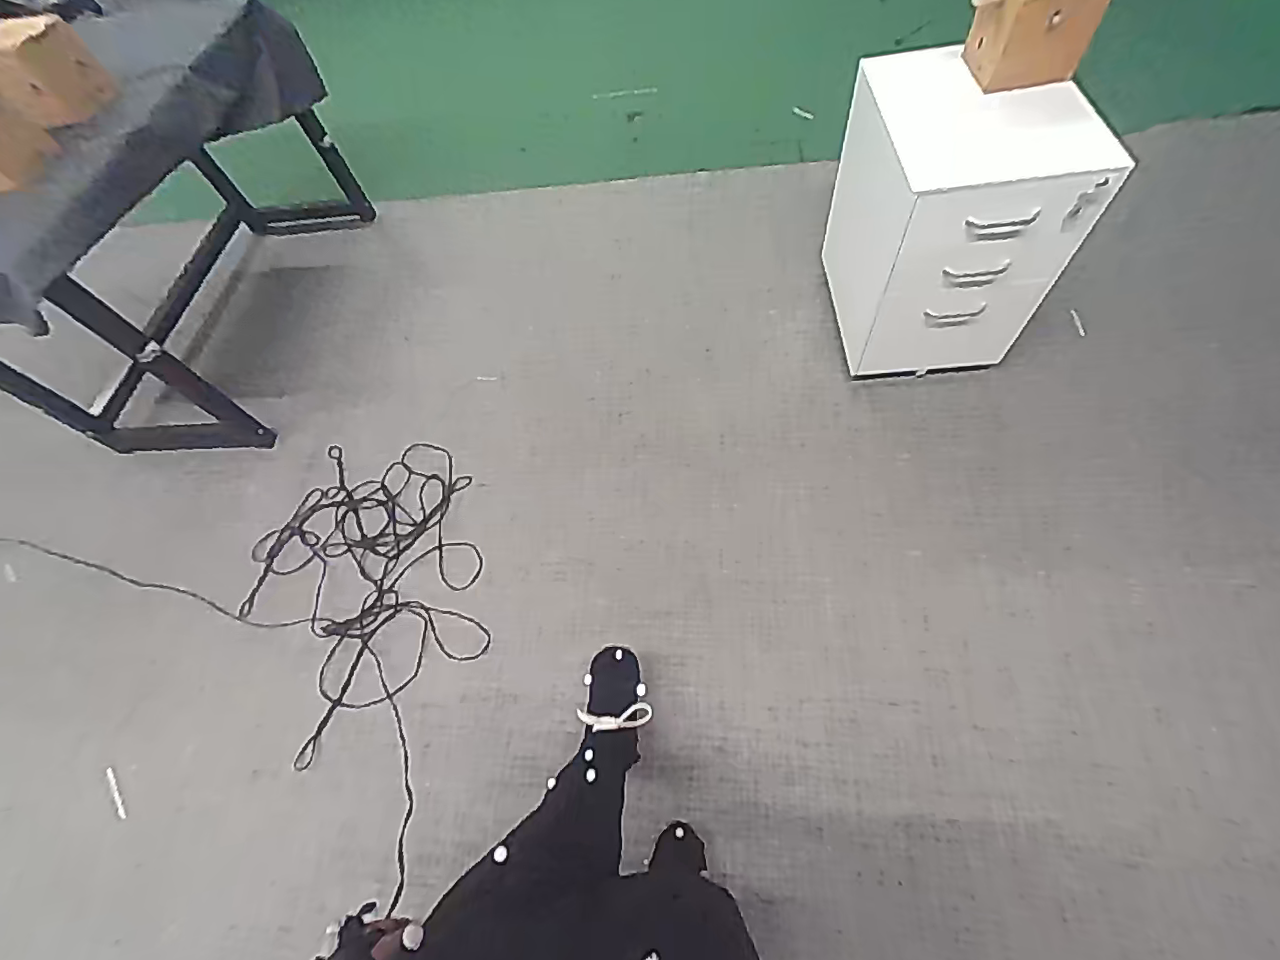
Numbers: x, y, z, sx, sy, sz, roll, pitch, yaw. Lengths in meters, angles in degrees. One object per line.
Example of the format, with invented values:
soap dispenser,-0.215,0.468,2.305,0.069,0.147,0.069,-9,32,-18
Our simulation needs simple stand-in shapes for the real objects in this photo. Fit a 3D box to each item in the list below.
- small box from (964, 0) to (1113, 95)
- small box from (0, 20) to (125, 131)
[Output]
small box,0.813,-0.939,1.118,0.179,0.176,0.168,-5,62,7
small box,-1.474,-1.009,1.359,0.179,0.176,0.168,3,60,12
